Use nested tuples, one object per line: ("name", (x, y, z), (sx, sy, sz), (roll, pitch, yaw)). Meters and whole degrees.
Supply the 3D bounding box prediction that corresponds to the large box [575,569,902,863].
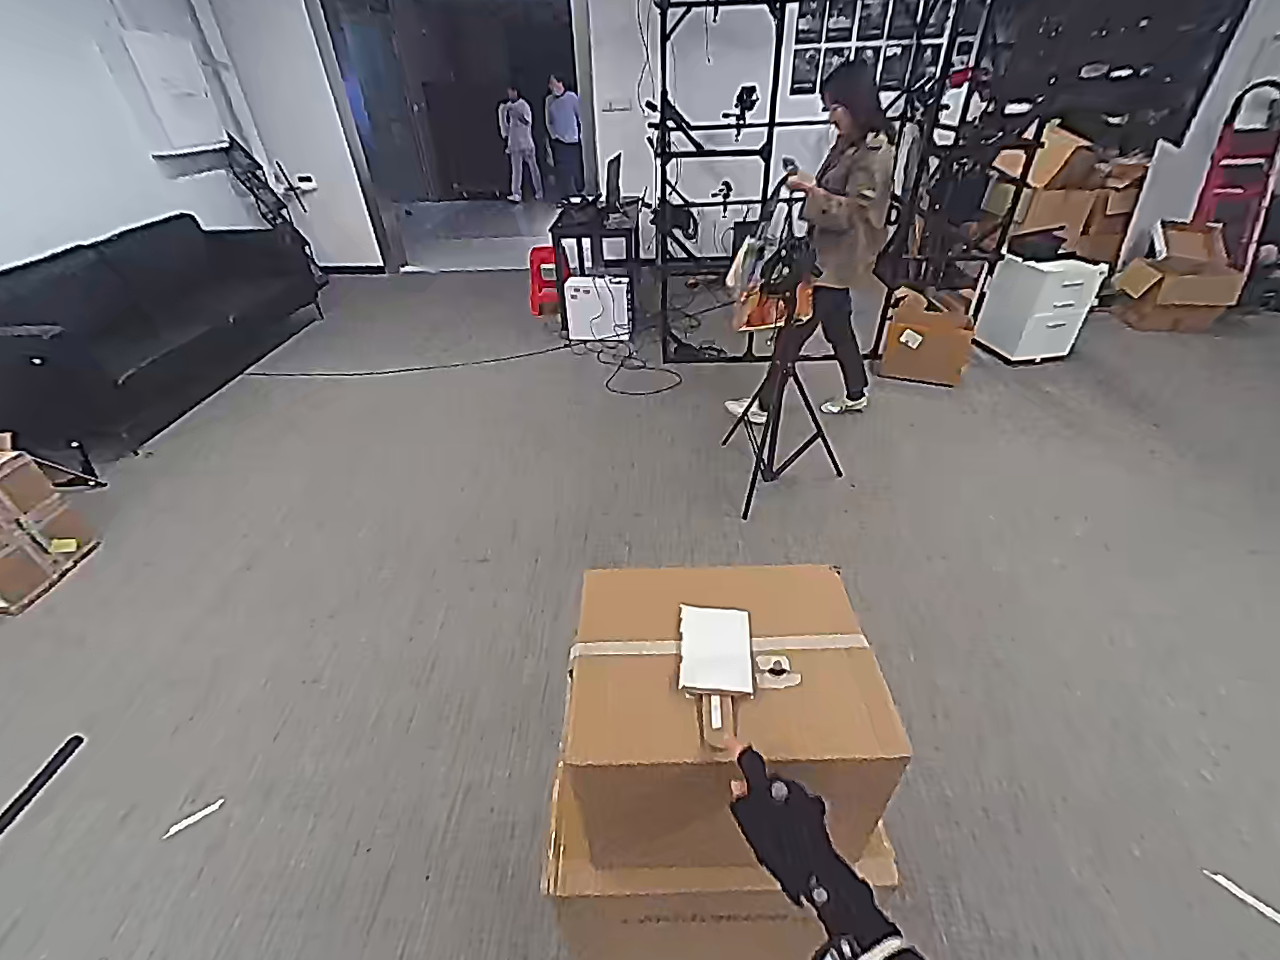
("large box", (0.117, 0.362, 0.851), (0.408, 0.320, 0.320), (-1, 36, 0))
